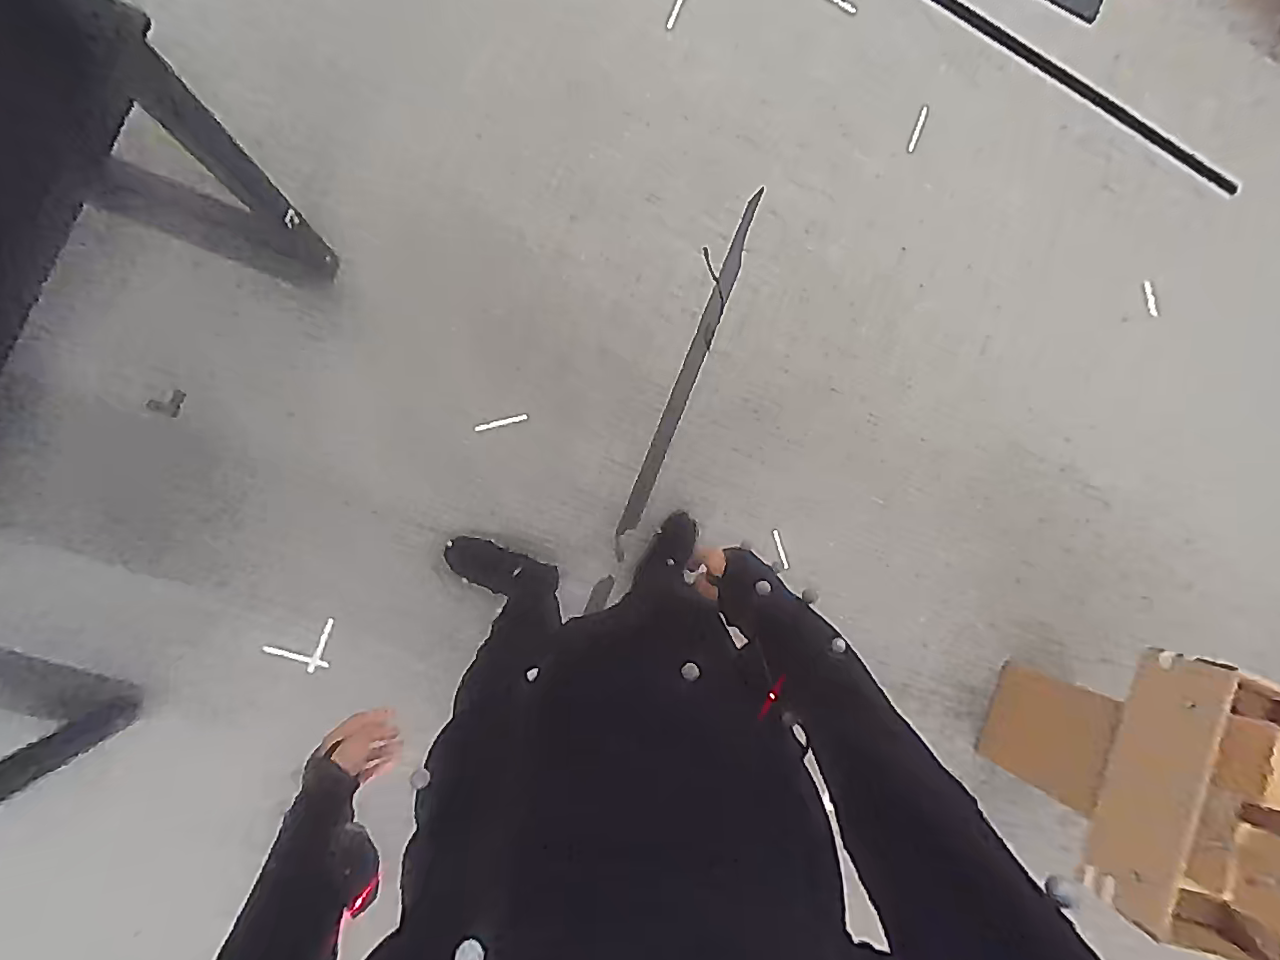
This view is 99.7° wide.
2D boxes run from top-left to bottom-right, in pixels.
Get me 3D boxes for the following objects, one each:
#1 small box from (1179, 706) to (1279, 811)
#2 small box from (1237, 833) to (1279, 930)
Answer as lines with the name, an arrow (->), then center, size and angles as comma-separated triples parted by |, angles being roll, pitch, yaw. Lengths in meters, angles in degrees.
small box -> 1.436, 0.651, 1.265 | 0.179, 0.176, 0.168 | 14, 87, -11
small box -> 1.376, 0.850, 1.082 | 0.179, 0.176, 0.168 | 24, 81, -10
